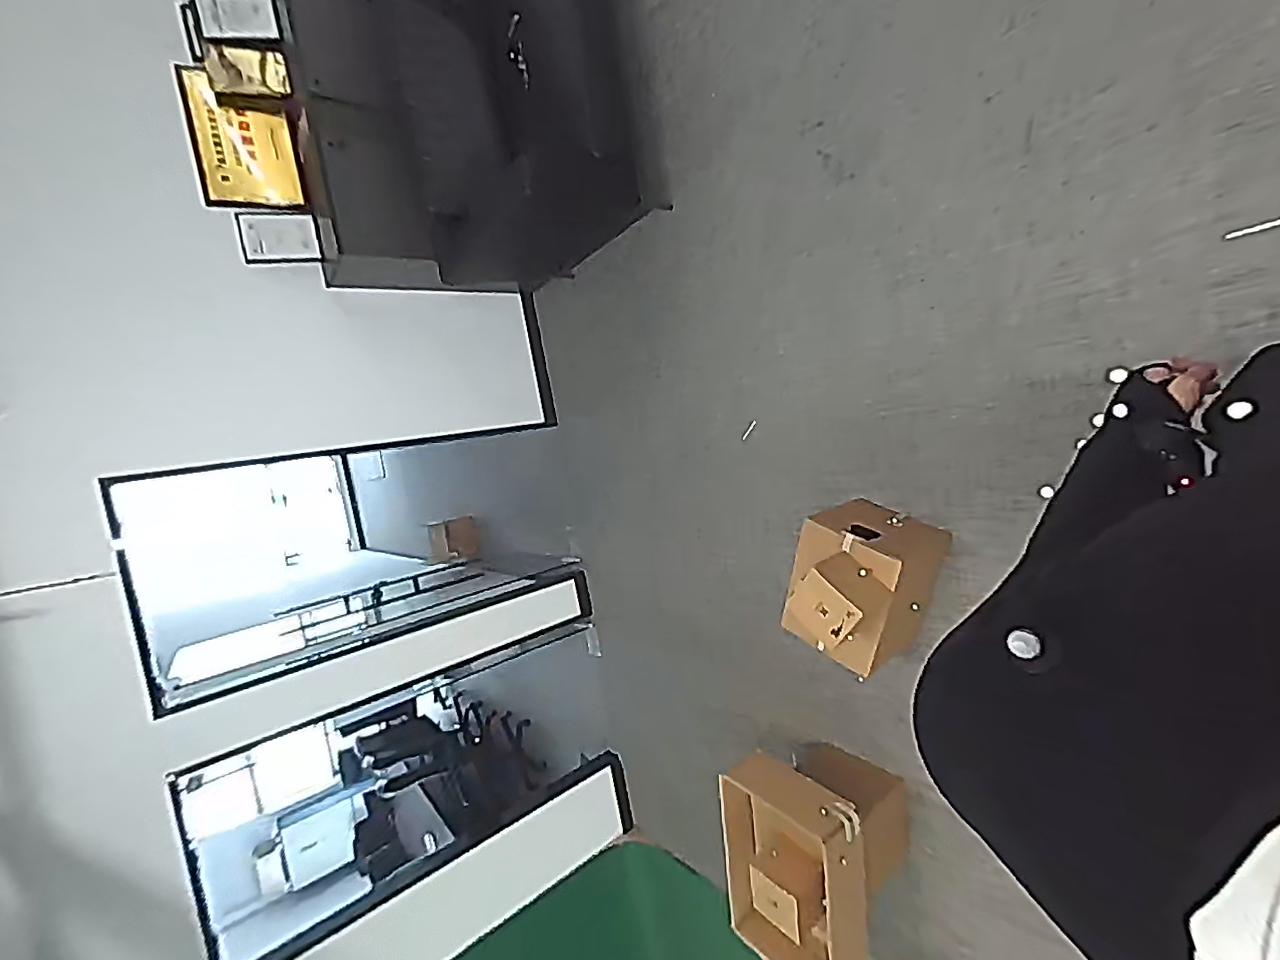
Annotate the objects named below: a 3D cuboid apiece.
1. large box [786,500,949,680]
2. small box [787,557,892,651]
[{"bbox_3d":[0.702,0.320,1.691,0.320,0.320,0.408,28,122,45],"label":"large box"},{"bbox_3d":[0.548,0.330,1.487,0.179,0.176,0.168,47,133,32],"label":"small box"}]
